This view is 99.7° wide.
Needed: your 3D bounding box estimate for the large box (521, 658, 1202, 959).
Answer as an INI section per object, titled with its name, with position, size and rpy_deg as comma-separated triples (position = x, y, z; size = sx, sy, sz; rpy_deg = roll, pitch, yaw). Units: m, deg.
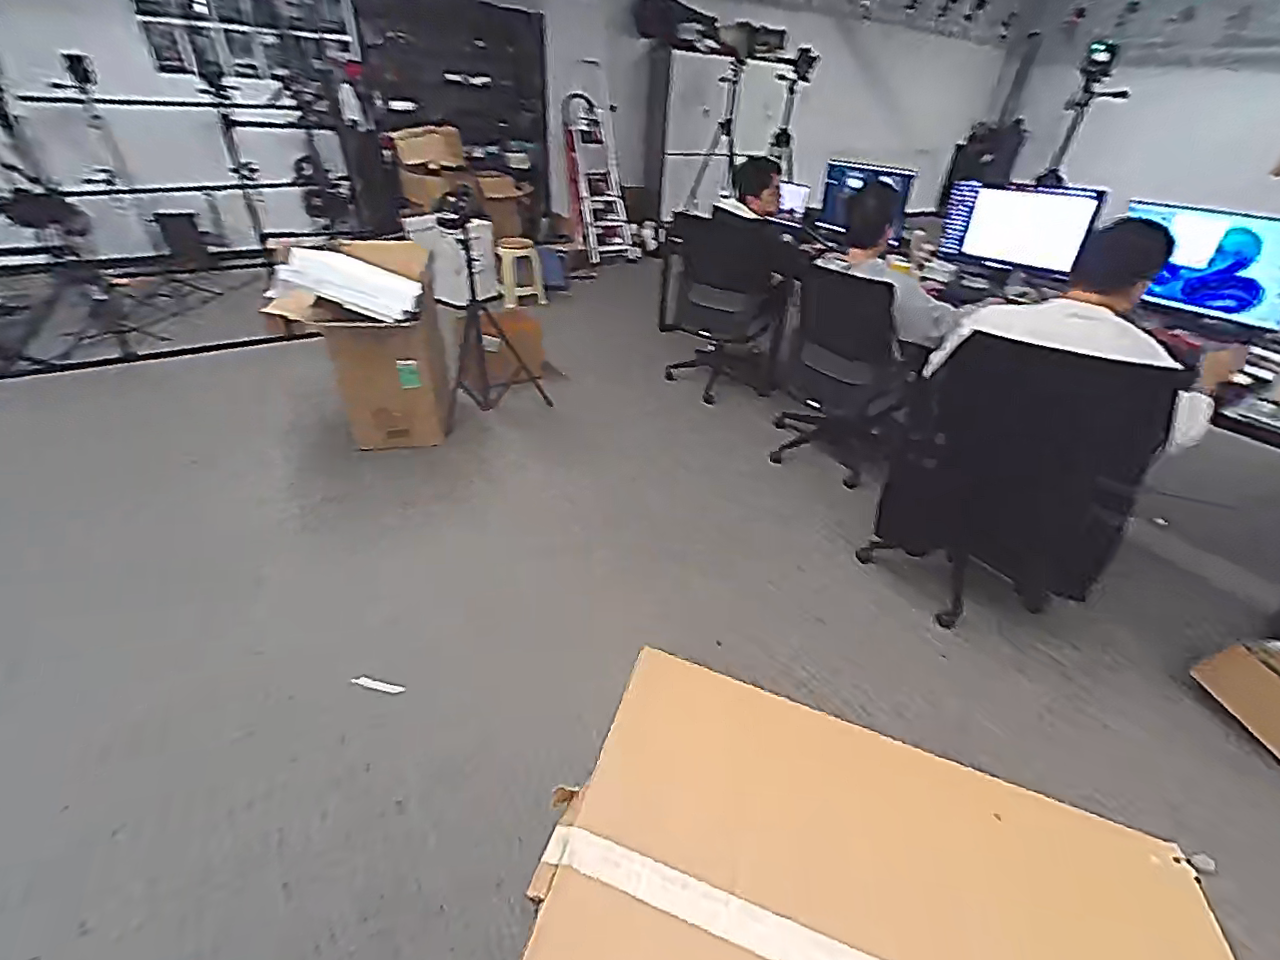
[large box]
position = 0.112, 0.400, 0.386
size = 0.408, 0.320, 0.320
rpy_deg = 18, 37, 8
